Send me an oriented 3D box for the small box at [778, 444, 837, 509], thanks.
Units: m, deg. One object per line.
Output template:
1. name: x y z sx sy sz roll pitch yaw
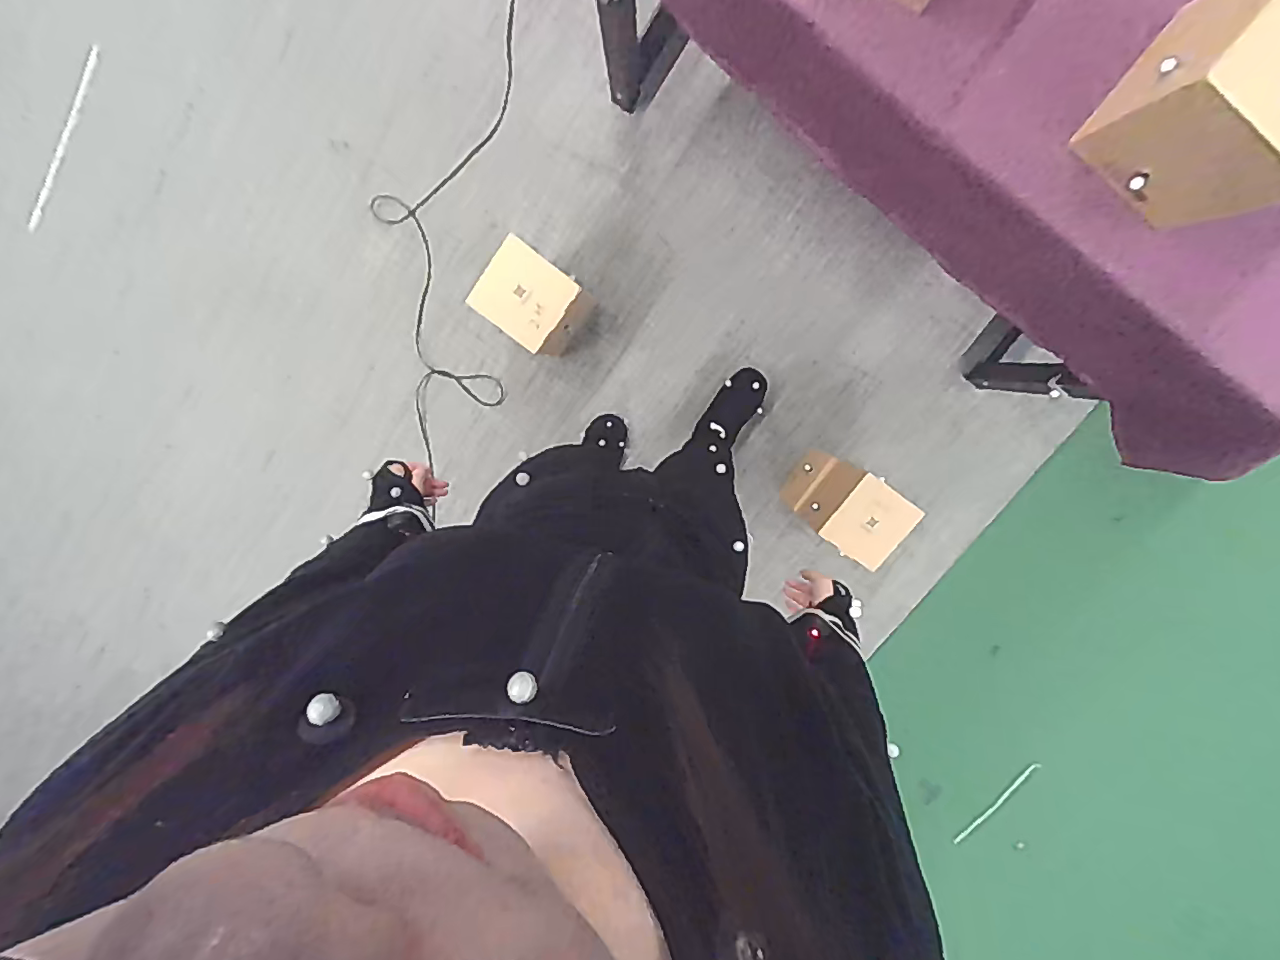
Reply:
1. small box: 0.491 0.019 1.419 0.179 0.176 0.168 33 102 -8

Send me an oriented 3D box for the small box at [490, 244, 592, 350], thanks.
1. small box: -0.231 -0.433 1.314 0.168 0.176 0.179 36 100 -8

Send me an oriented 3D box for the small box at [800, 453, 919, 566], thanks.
1. small box: 0.497 0.063 1.262 0.168 0.176 0.179 35 101 -9
